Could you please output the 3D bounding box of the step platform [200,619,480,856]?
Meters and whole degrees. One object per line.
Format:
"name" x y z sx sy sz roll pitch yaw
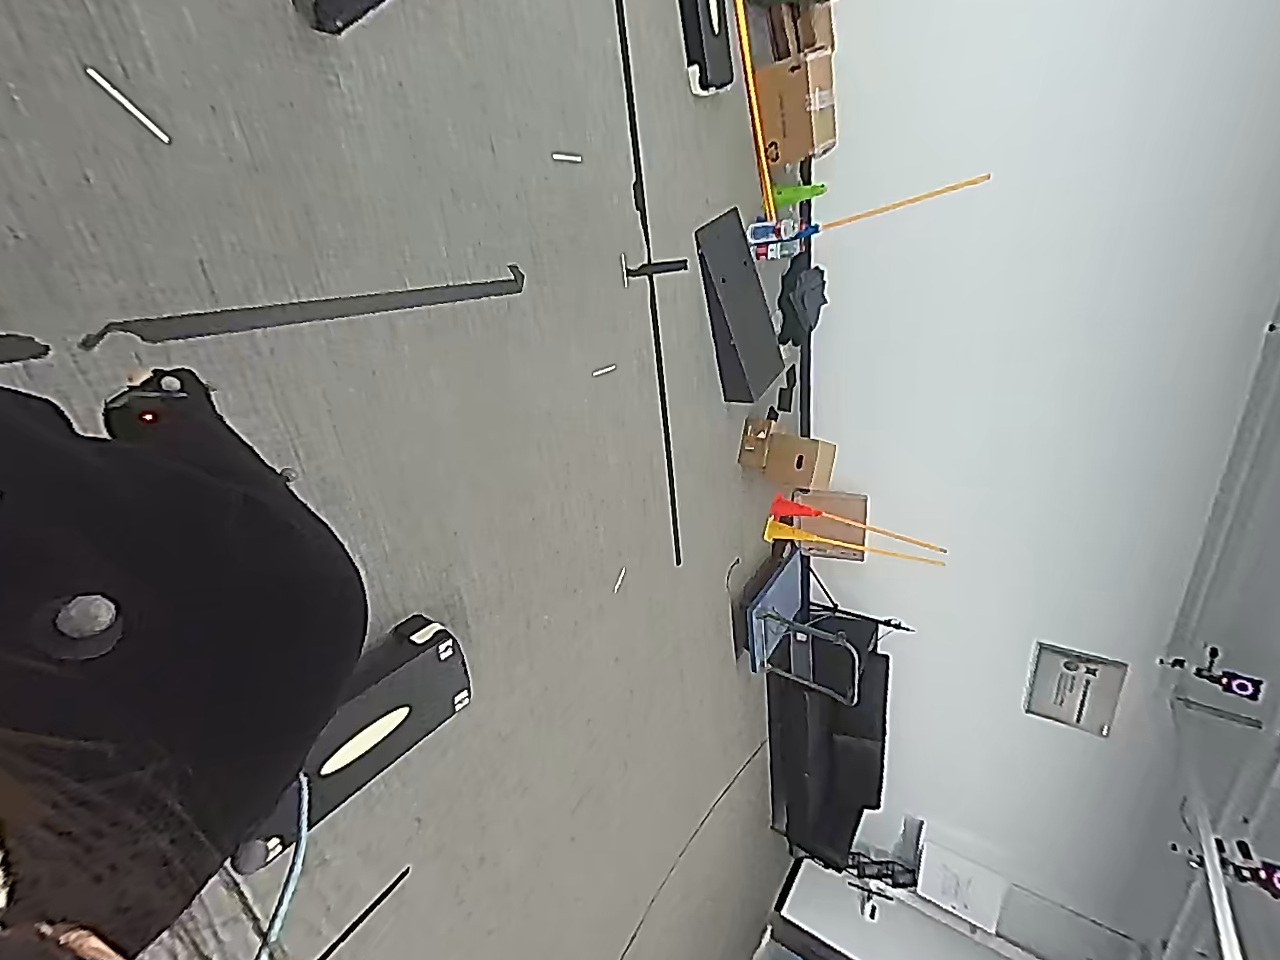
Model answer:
"step platform" -0.780 0.674 1.523 0.684 0.204 0.286 -25 117 -50
